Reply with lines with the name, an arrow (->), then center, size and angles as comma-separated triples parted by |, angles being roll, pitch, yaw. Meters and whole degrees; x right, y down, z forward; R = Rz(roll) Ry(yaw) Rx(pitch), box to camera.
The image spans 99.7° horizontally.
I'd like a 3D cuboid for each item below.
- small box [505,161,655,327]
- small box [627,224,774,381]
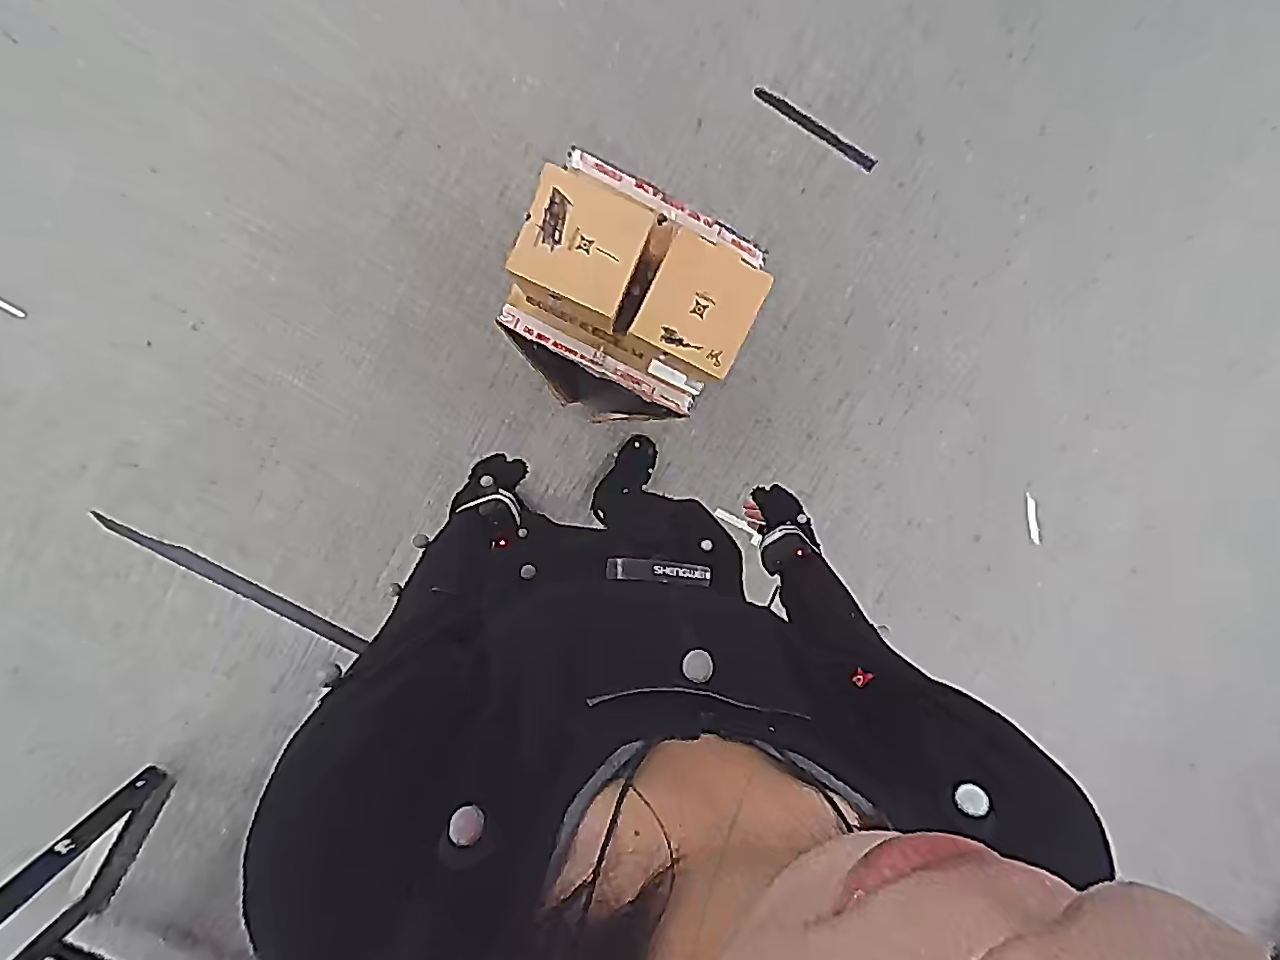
small box -> -0.092, -0.361, 0.868 | 0.179, 0.176, 0.168 | 23, 96, -5
small box -> 0.087, -0.279, 0.892 | 0.168, 0.176, 0.179 | 26, 95, -8
